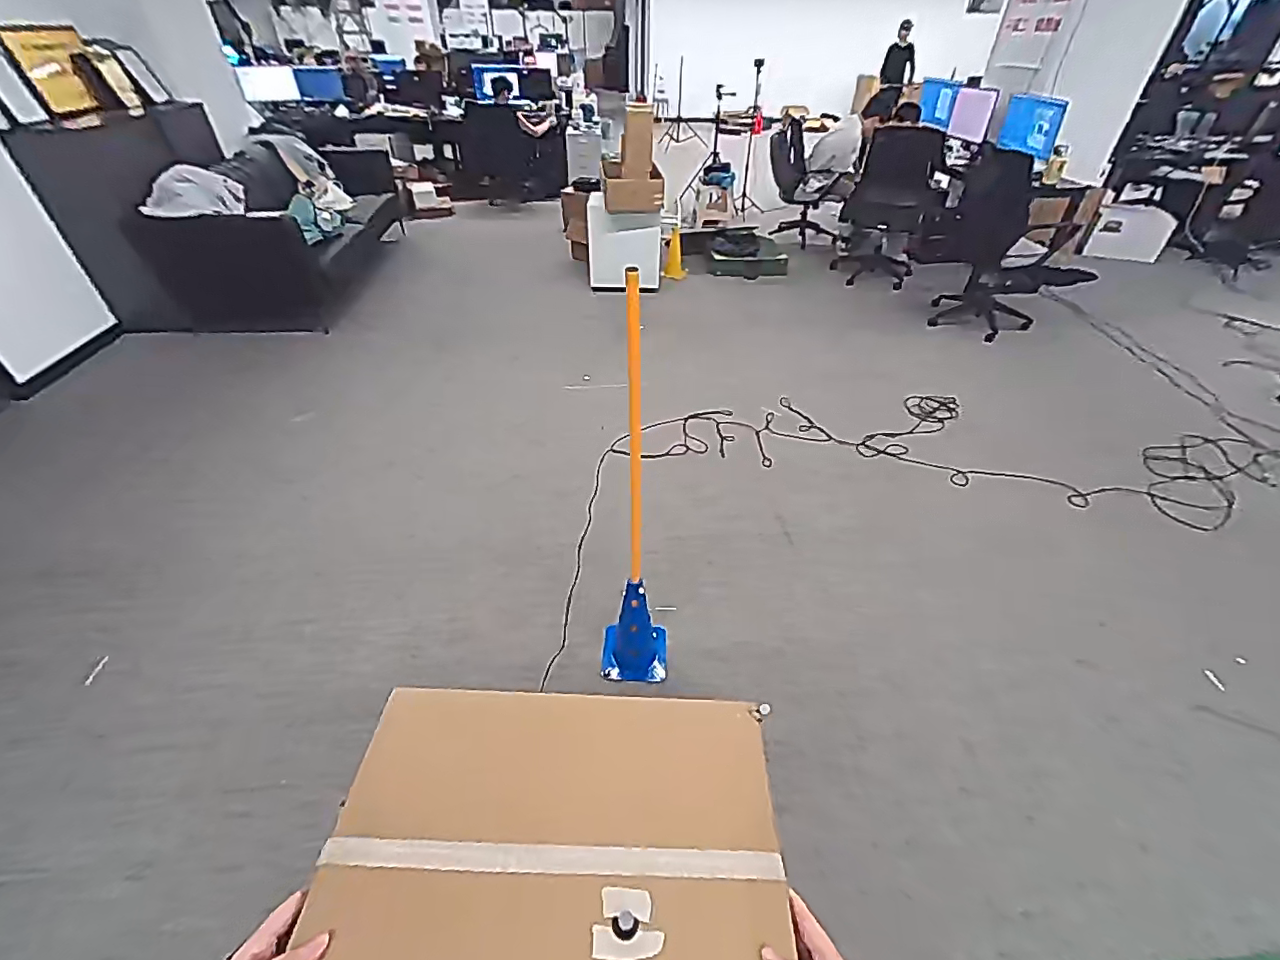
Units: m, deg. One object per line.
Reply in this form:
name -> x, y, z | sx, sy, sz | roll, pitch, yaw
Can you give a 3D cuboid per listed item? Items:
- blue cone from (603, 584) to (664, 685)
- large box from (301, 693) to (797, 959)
blue cone -> -0.017, 0.435, 1.620 | 0.193, 0.380, 0.192 | 3, 40, 3
large box -> -0.077, 0.456, 0.580 | 0.408, 0.320, 0.320 | 3, 39, -1
